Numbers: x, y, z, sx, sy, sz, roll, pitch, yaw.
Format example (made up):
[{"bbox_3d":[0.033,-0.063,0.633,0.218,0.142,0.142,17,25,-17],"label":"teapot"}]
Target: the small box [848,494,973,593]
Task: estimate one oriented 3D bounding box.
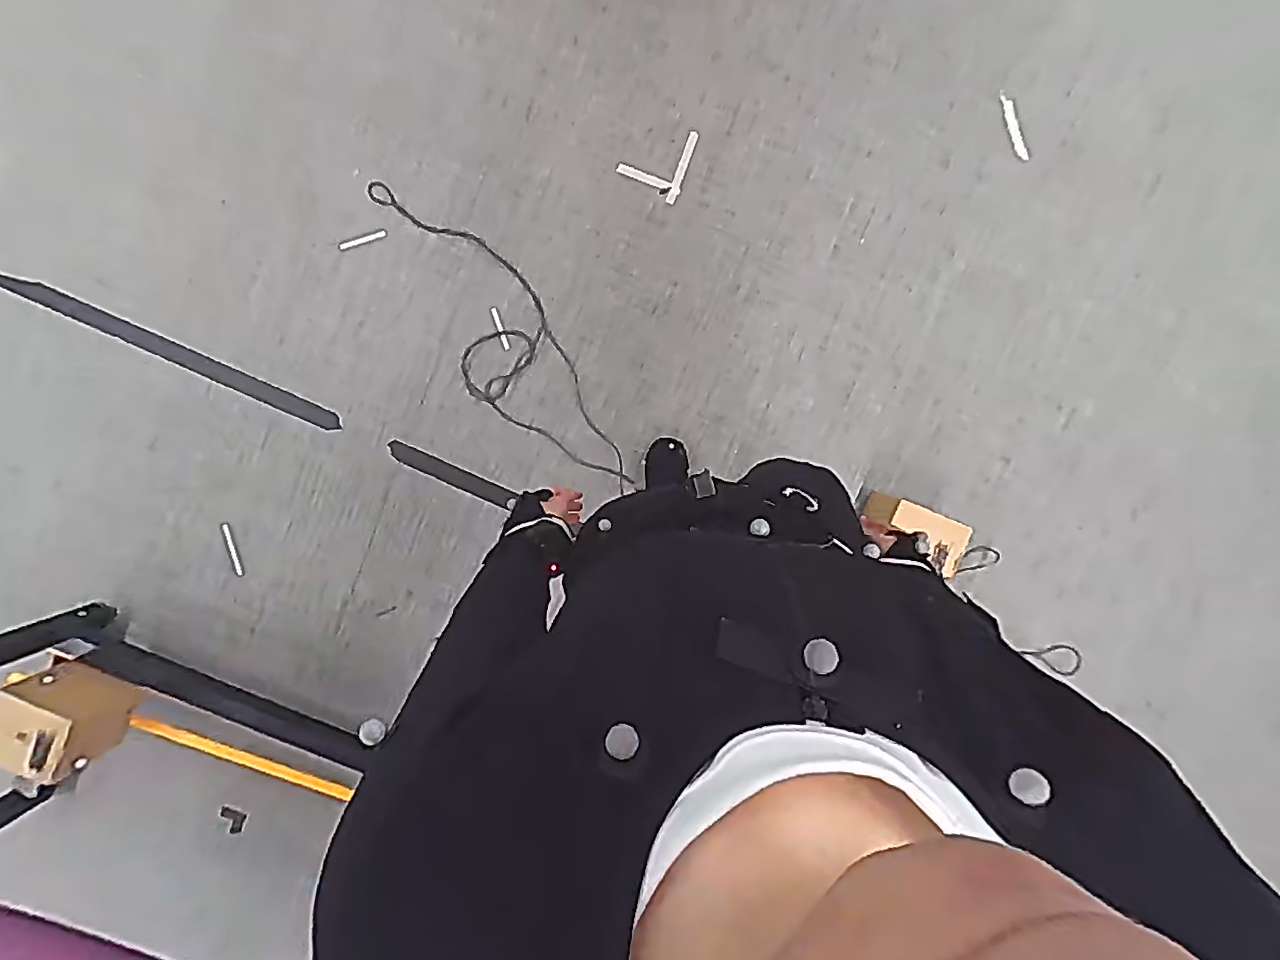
[{"bbox_3d":[0.632,0.142,1.285,0.179,0.176,0.168,23,95,-1],"label":"small box"}]
